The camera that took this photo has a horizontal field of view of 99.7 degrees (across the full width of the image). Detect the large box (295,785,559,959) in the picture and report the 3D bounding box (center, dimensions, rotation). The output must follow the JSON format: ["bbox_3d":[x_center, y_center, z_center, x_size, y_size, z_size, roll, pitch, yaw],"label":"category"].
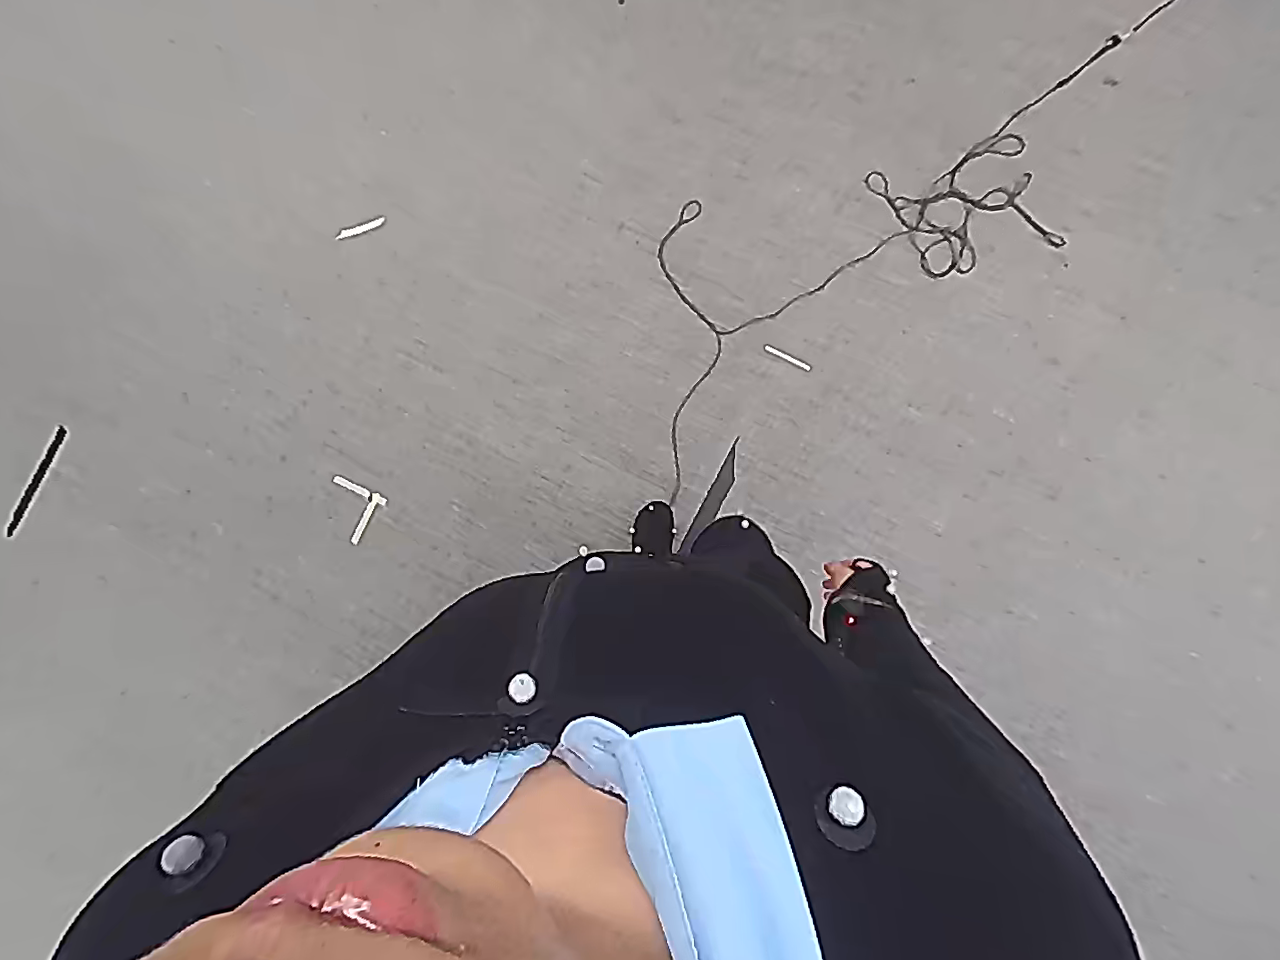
[{"bbox_3d":[-0.441,0.949,1.153,0.408,0.320,0.320,27,88,5],"label":"large box"}]
